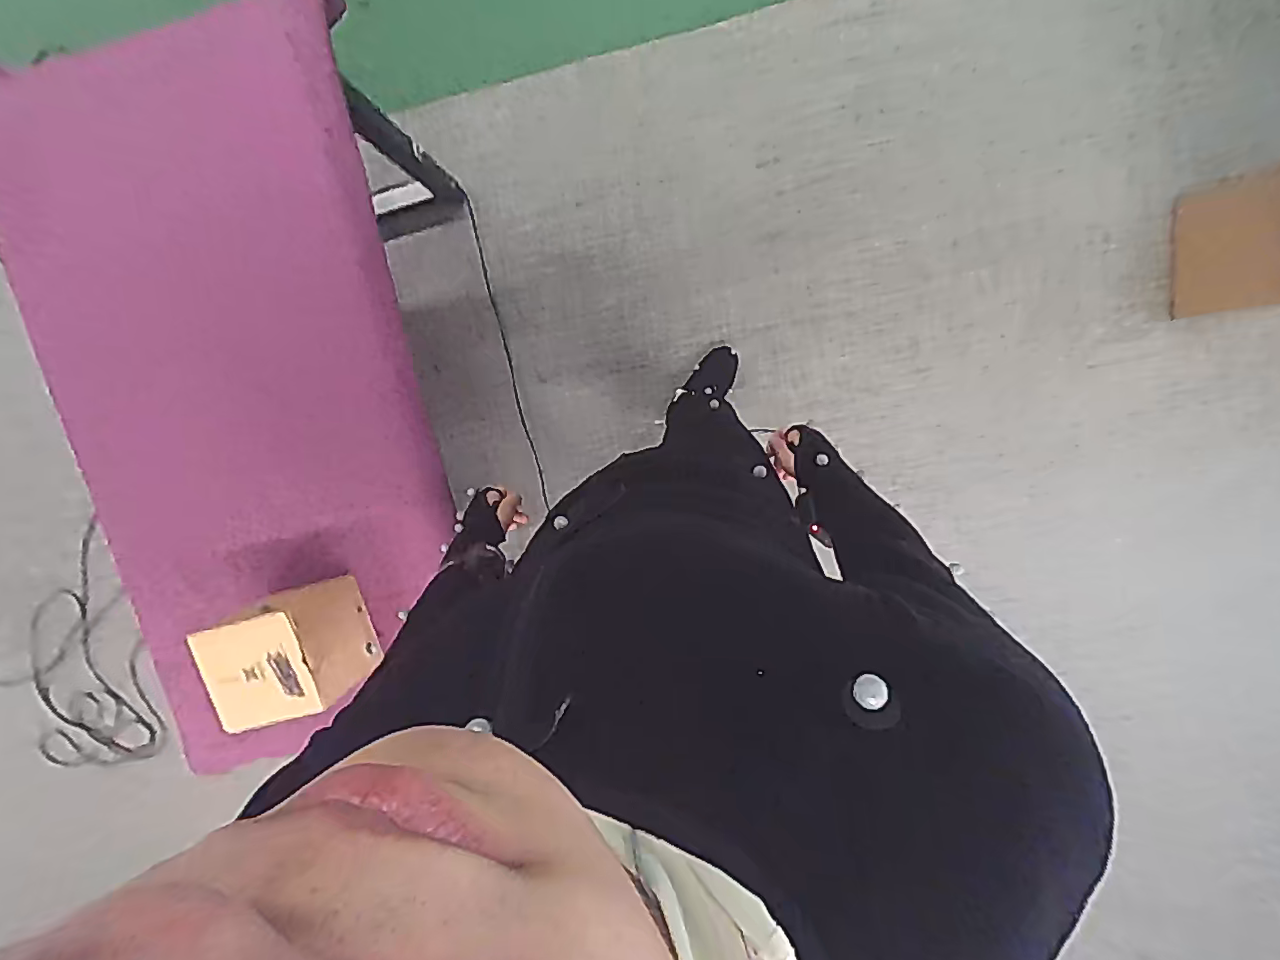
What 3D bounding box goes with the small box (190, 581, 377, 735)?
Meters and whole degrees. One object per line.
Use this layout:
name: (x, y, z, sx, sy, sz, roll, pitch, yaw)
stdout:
small box: (-0.567, 0.282, 0.891, 0.179, 0.176, 0.168, -15, 97, 7)
